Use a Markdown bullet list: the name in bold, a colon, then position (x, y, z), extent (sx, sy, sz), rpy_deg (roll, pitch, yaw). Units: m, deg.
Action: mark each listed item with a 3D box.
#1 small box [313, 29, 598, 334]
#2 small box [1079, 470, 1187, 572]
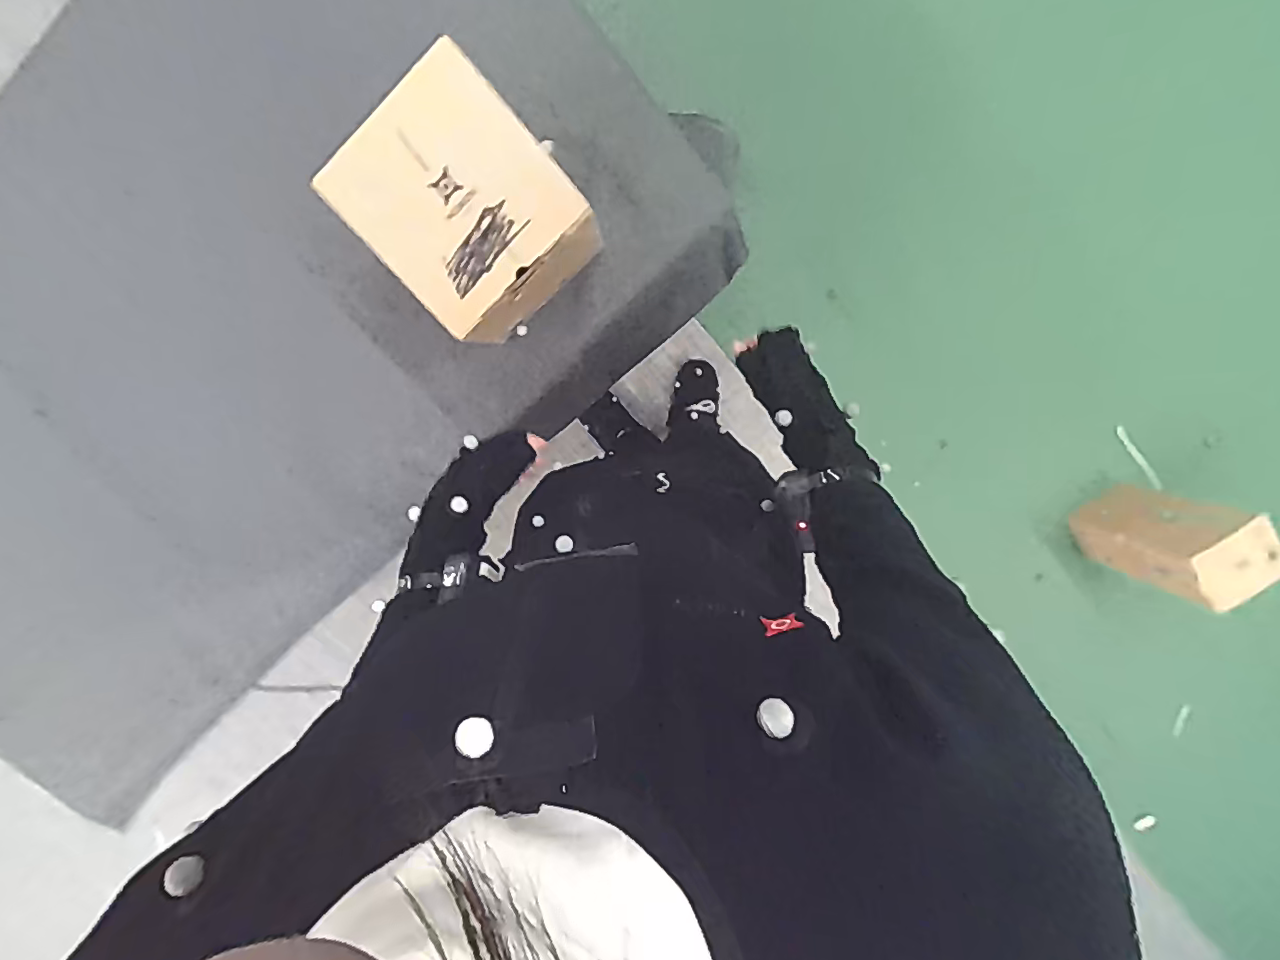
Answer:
- **small box**: position (-0.157, -0.264, 0.531), extent (0.168, 0.176, 0.179), rpy_deg (-41, 100, 9)
- **small box**: position (1.283, 0.099, 1.388), extent (0.179, 0.176, 0.168), rpy_deg (-36, 105, 7)
